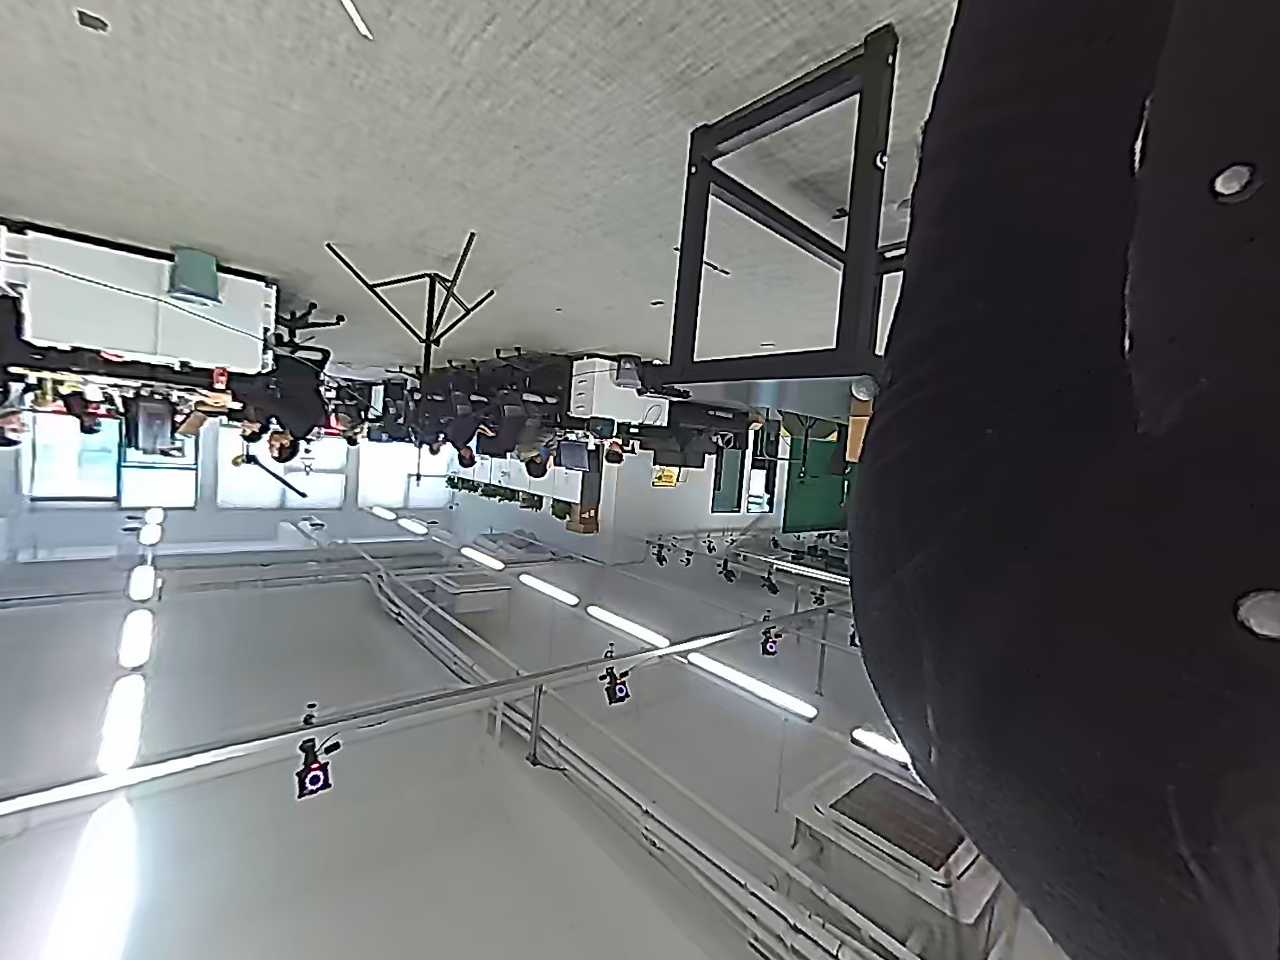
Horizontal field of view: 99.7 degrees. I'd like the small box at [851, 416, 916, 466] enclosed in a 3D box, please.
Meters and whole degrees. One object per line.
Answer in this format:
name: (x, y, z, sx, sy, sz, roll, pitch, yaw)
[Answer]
small box: (0.902, -0.146, 1.995, 0.168, 0.176, 0.179, 3, -177, -44)
